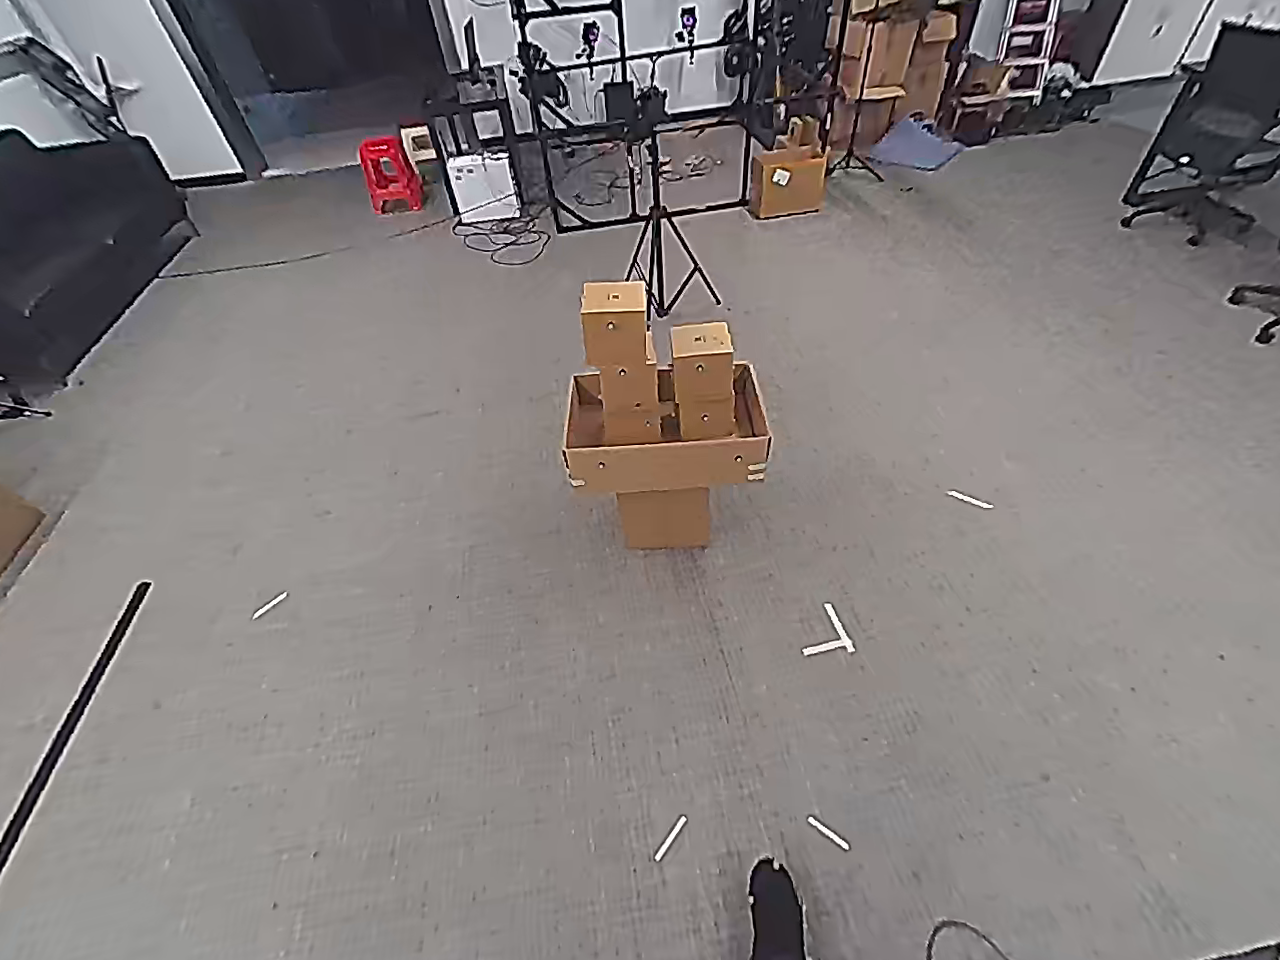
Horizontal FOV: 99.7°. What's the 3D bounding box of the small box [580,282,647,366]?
[{"bbox_3d":[-0.069,-0.436,1.520,0.179,0.176,0.168,-3,46,1],"label":"small box"}]
